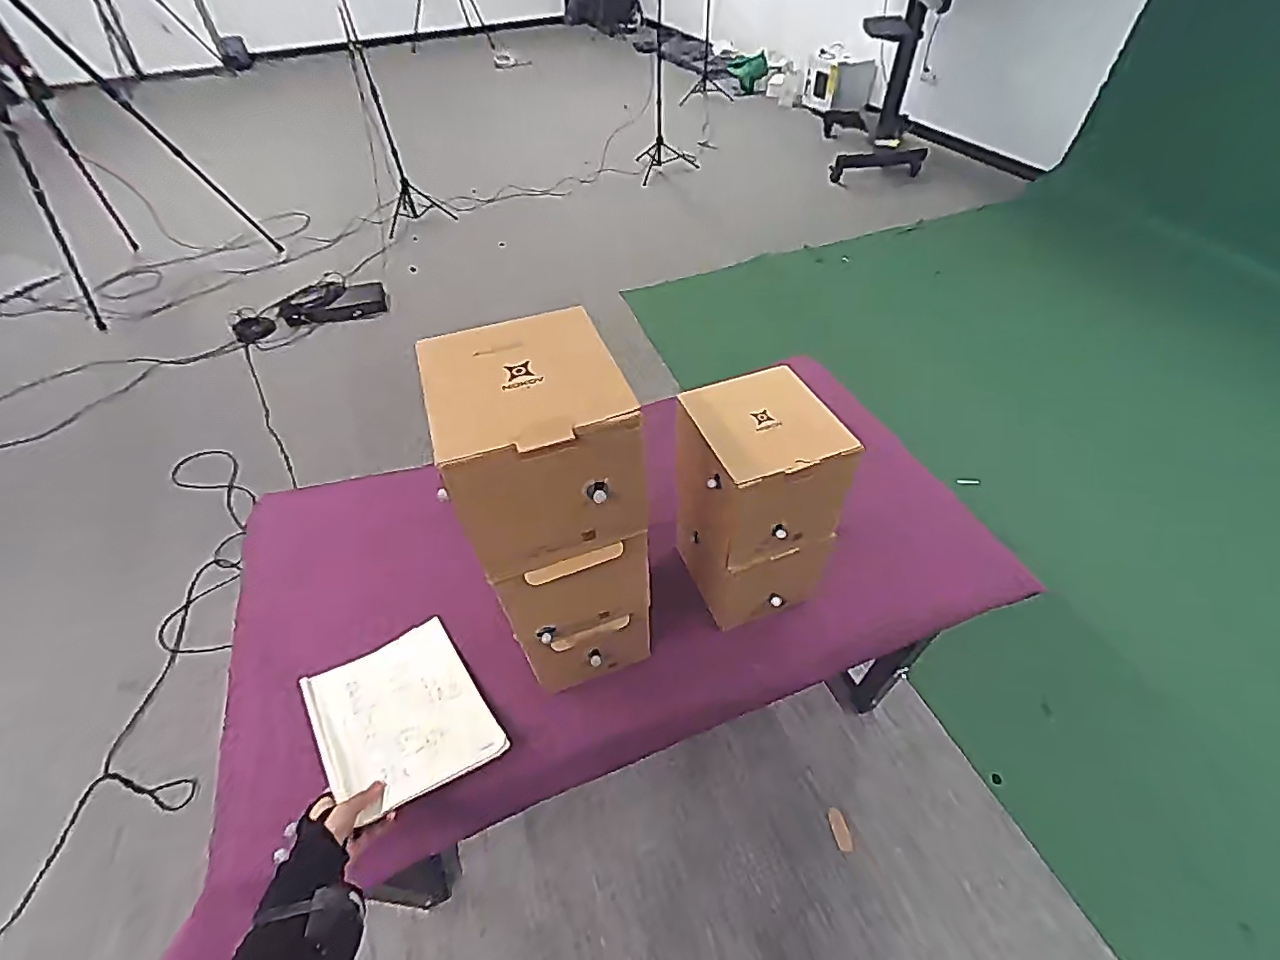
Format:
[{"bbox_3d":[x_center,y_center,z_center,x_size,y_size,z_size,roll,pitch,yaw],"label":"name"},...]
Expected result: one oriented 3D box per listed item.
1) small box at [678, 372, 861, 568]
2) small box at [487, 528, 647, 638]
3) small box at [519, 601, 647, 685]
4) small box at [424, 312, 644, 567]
[{"bbox_3d":[0.156,-0.014,0.725,0.168,0.176,0.179,-17,49,-12],"label":"small box"},{"bbox_3d":[-0.095,0.071,0.660,0.168,0.176,0.179,-17,49,-12],"label":"small box"},{"bbox_3d":[-0.092,0.176,0.787,0.168,0.176,0.179,-17,50,-13],"label":"small box"},{"bbox_3d":[-0.098,-0.034,0.535,0.168,0.176,0.179,-16,49,-12],"label":"small box"}]
